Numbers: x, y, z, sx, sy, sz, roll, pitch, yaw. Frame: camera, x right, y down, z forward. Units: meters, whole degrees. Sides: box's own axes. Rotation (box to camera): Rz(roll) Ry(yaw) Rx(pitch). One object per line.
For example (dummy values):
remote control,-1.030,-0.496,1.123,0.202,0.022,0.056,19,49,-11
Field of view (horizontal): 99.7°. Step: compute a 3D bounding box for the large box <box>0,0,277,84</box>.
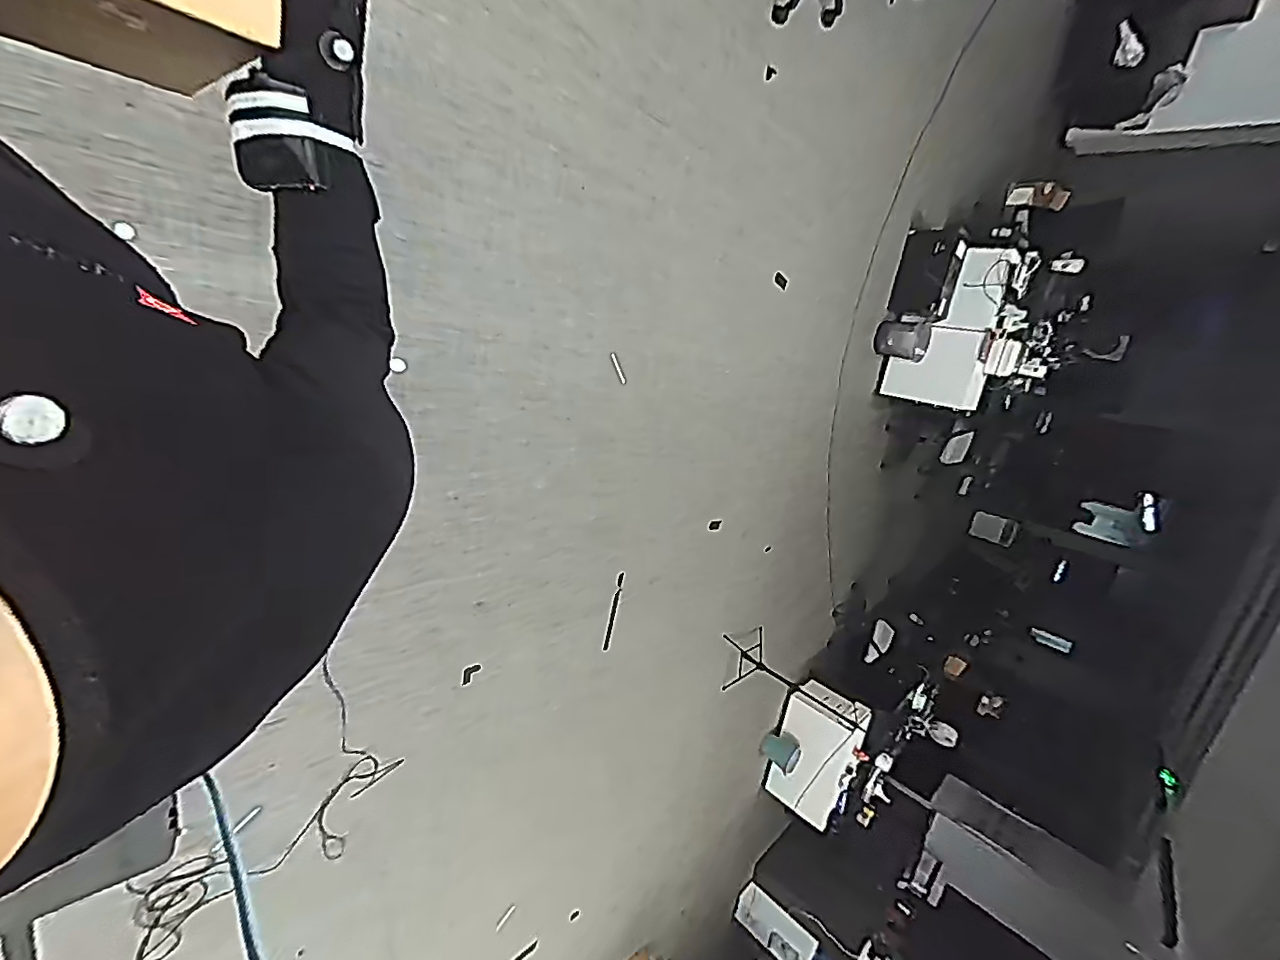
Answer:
large box,-0.464,-0.469,0.269,0.408,0.320,0.320,-9,116,-47
